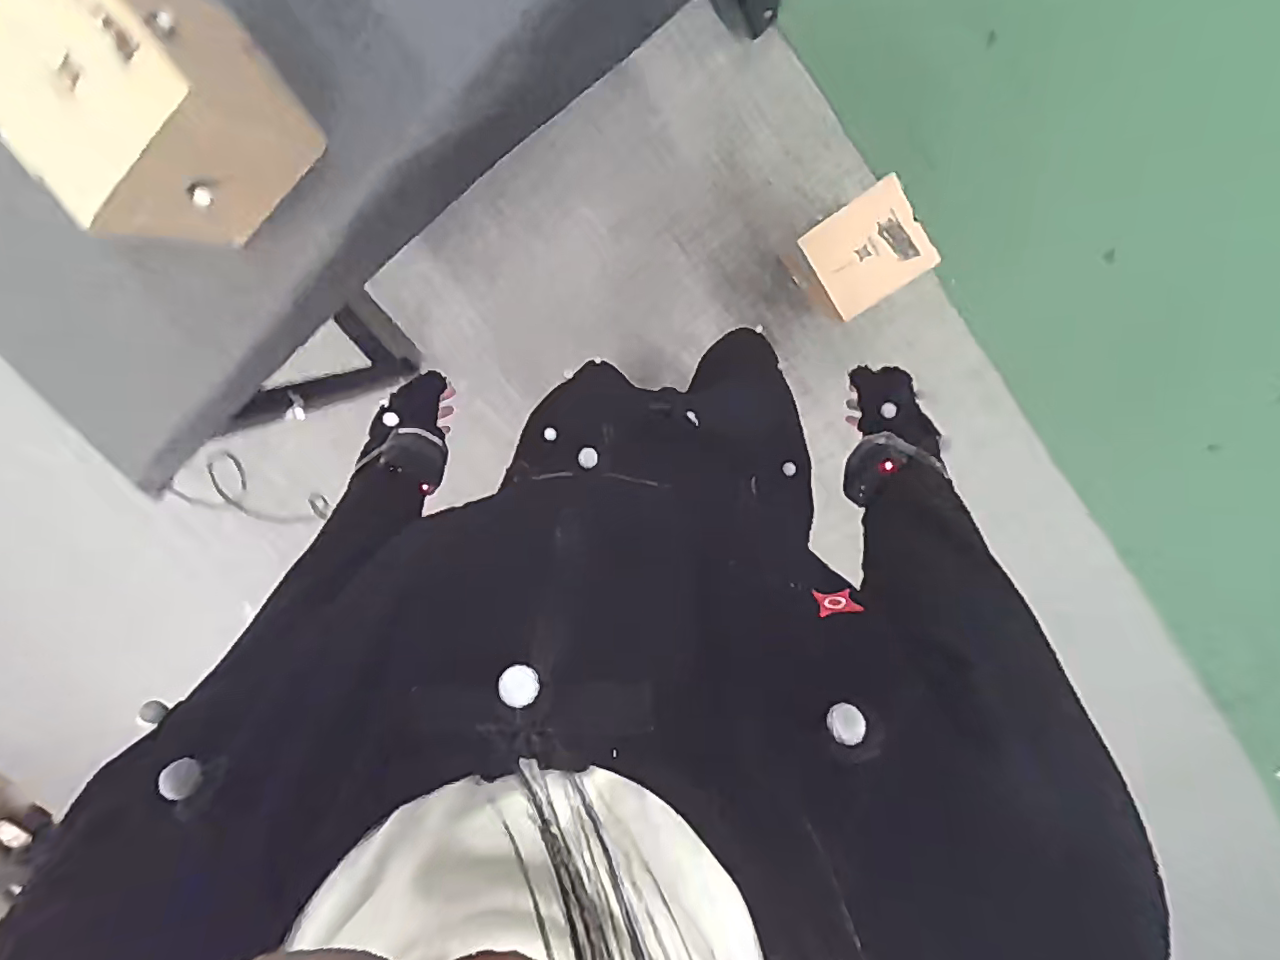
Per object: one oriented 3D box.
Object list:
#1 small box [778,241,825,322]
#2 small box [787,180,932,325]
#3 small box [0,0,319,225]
[{"bbox_3d":[0.407,-0.456,1.139,0.179,0.176,0.168,-32,100,19],"label":"small box"},{"bbox_3d":[0.387,-0.404,0.984,0.179,0.176,0.168,-30,101,18],"label":"small box"},{"bbox_3d":[-0.465,-0.375,0.524,0.179,0.176,0.168,-32,101,18],"label":"small box"}]
